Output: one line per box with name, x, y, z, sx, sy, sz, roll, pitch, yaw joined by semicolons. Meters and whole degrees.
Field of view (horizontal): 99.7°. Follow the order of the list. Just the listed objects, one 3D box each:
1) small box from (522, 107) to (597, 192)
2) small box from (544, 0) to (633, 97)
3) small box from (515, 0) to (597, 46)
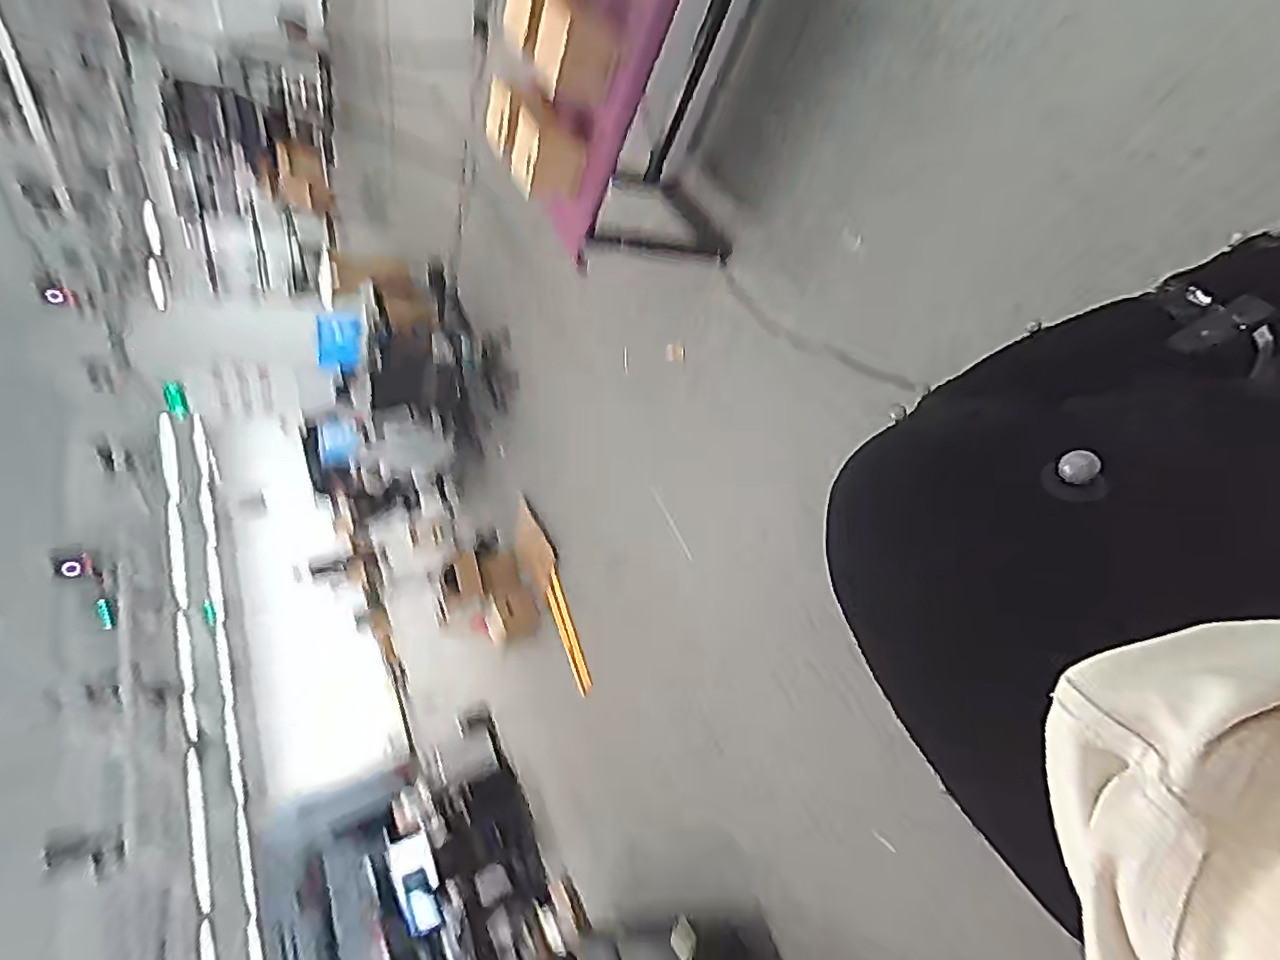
small box;-0.255;-1.045;1.720;0.179;0.176;0.168;62;142;29
small box;-0.145;-1.219;1.521;0.179;0.176;0.168;62;143;25
small box;-0.254;-1.426;1.635;0.179;0.176;0.168;61;142;25
